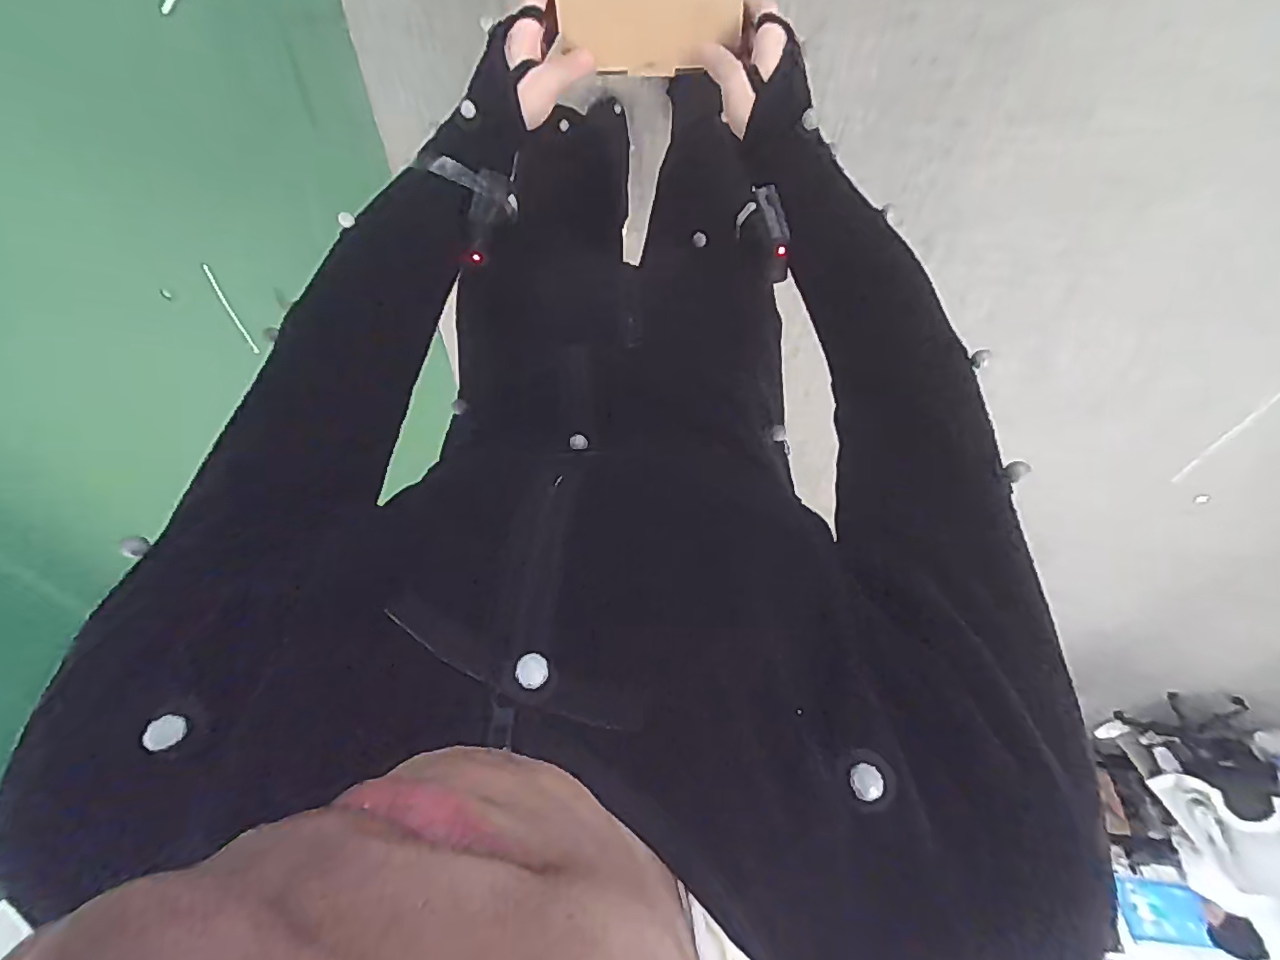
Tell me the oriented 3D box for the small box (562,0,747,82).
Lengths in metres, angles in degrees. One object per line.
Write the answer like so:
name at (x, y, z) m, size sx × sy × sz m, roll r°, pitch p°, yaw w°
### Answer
small box at (0.014, -0.498, 0.503) m, size 0.168 × 0.176 × 0.179 m, roll -1°, pitch 137°, yaw 2°
